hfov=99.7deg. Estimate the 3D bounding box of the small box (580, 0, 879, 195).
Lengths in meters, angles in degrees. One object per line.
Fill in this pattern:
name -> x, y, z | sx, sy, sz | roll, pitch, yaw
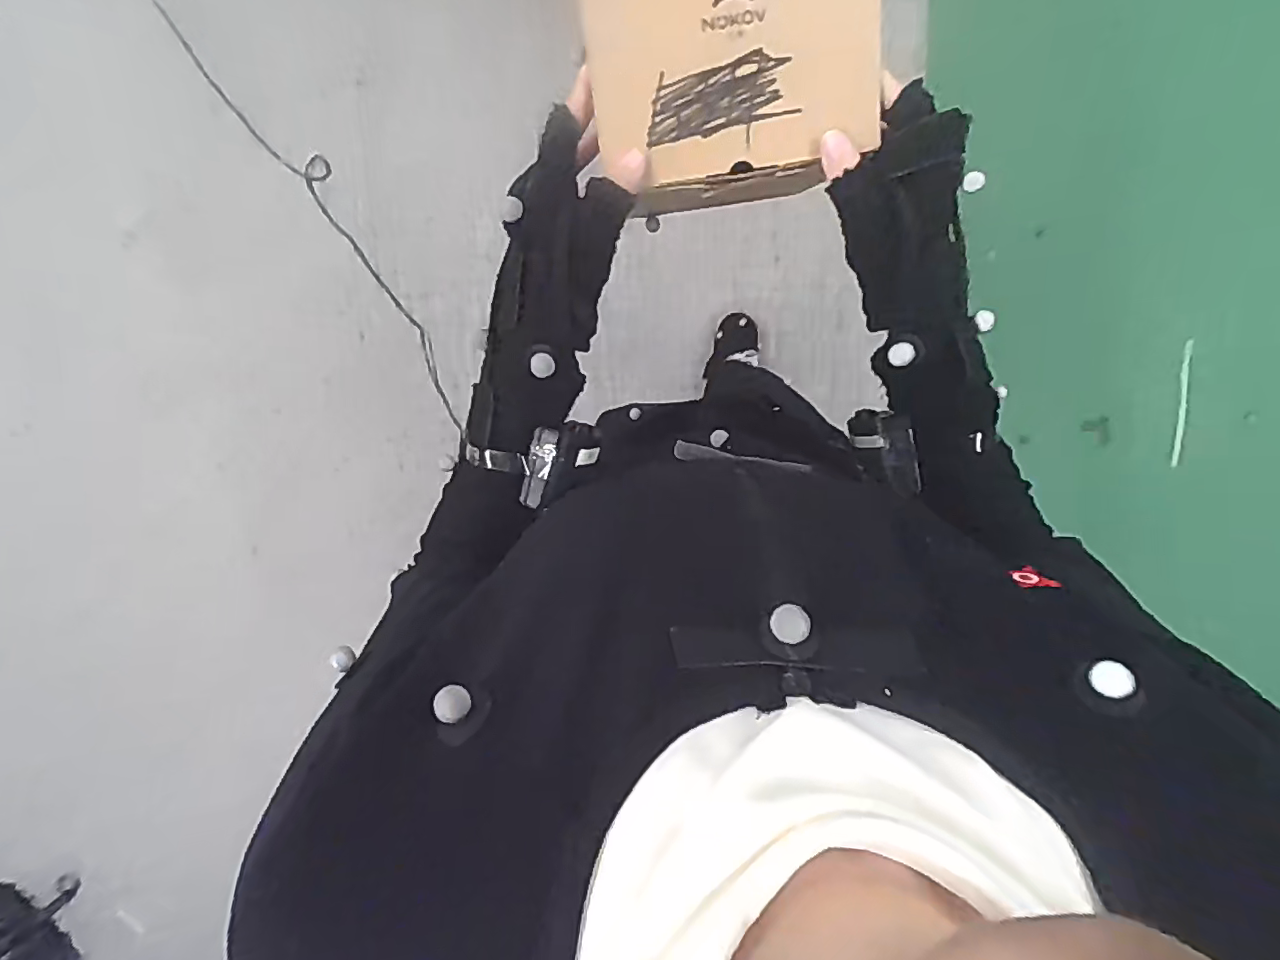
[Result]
small box -> 0.048, -0.303, 0.367 | 0.168, 0.176, 0.179 | -7, 111, 2
